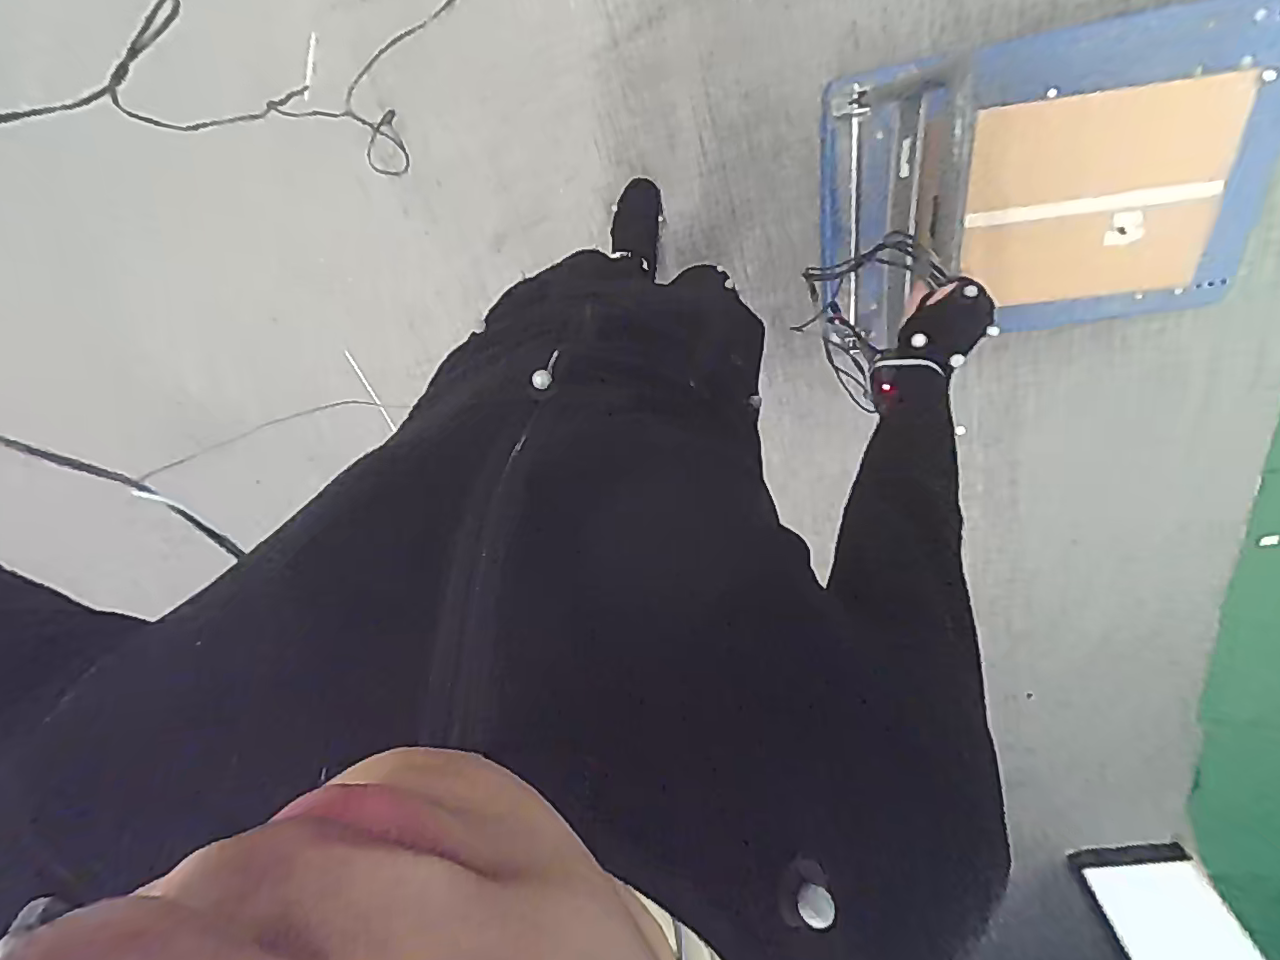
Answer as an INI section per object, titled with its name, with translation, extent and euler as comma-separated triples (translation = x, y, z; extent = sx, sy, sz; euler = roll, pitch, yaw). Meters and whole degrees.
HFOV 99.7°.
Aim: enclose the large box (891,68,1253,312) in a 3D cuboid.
[large box]
translation = 0.736, -0.529, 1.019
extent = 0.408, 0.320, 0.320
euler = -5, 120, 7
